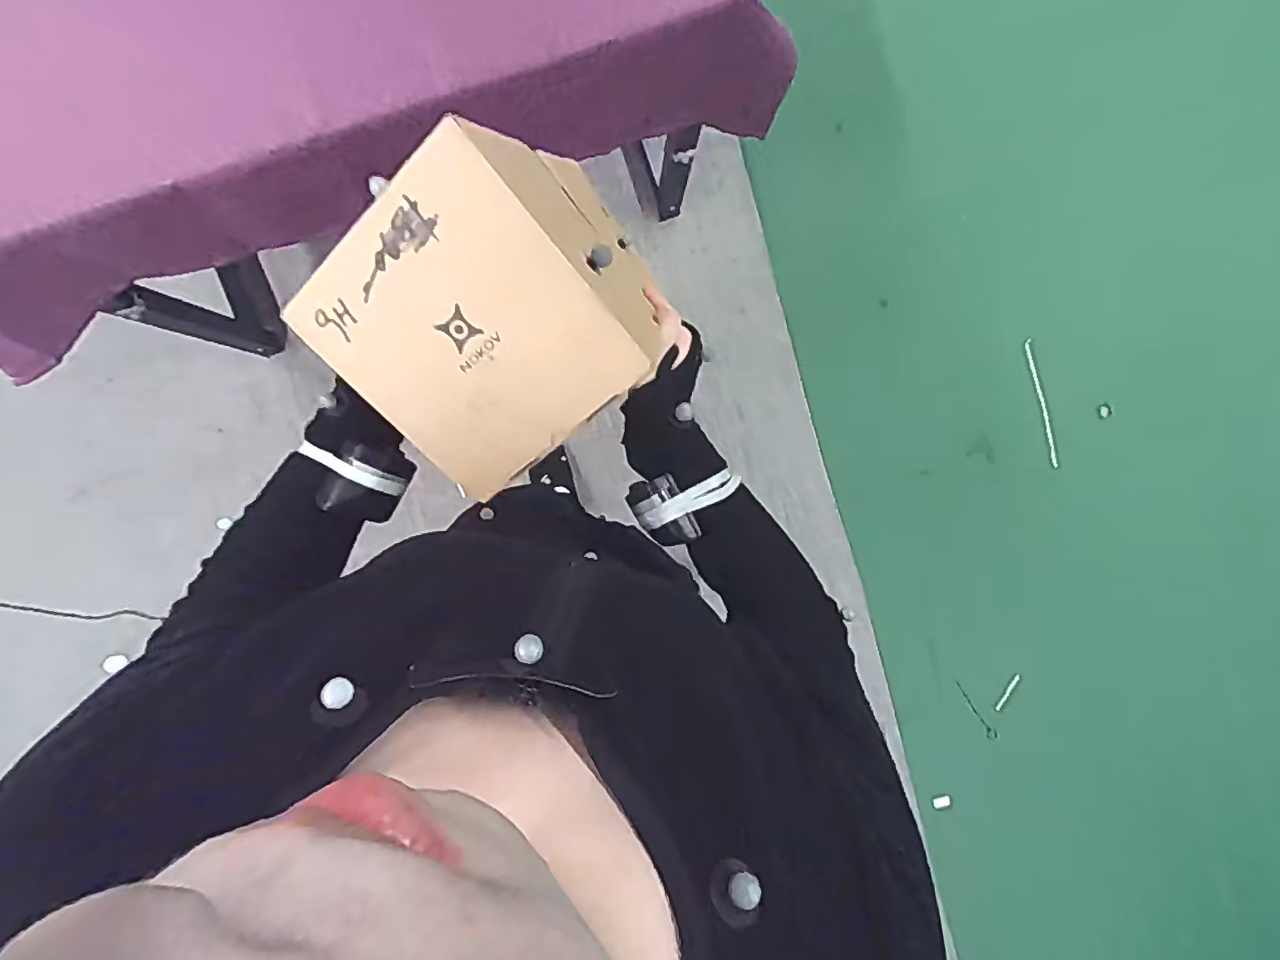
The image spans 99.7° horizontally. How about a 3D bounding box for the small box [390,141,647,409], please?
[{"bbox_3d":[-0.106,-0.207,0.557,0.179,0.176,0.168,-32,111,18],"label":"small box"}]
